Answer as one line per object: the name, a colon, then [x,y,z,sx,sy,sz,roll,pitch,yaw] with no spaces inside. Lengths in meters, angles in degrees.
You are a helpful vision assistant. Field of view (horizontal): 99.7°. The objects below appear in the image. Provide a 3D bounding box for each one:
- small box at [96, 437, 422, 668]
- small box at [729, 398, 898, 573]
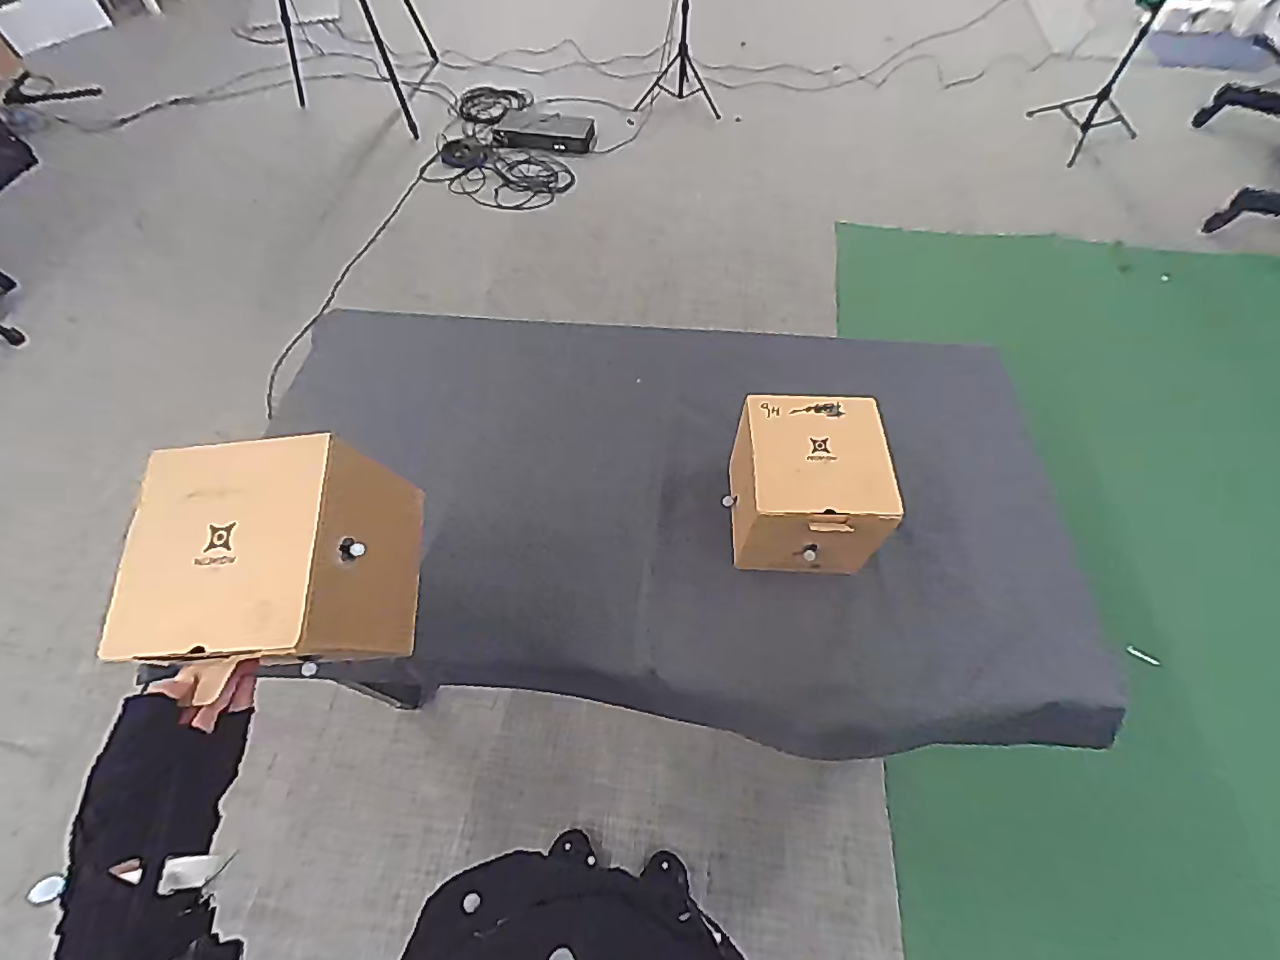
small box: [-0.322,0.078,0.500,0.168,0.176,0.179,-4,70,5]
small box: [0.213,0.013,0.716,0.168,0.176,0.179,3,59,1]
